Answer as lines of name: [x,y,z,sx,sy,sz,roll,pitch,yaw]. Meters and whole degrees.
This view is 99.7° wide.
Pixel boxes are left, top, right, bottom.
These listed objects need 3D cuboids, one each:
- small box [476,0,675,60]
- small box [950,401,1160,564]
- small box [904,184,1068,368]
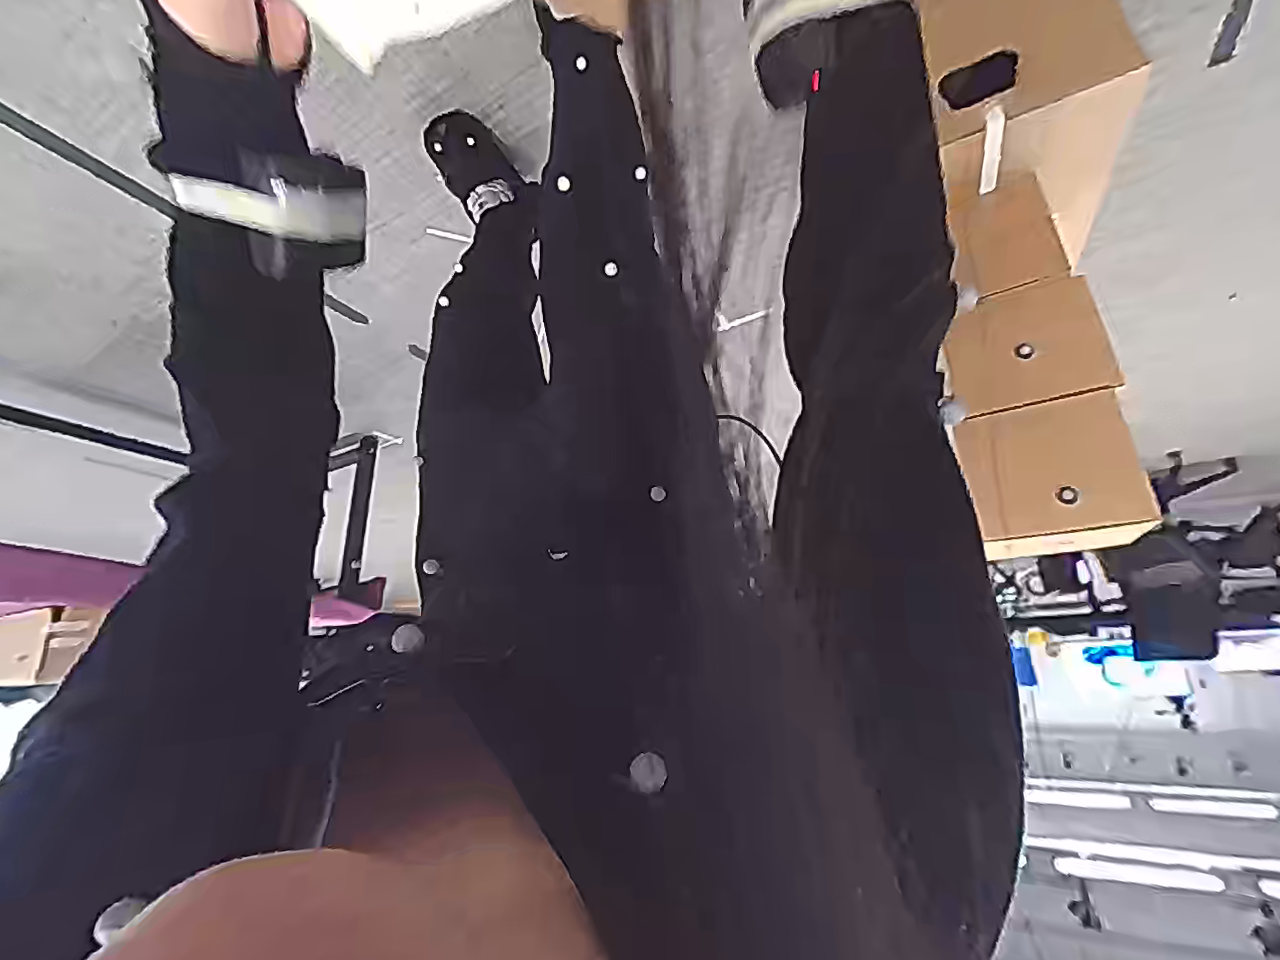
small box: [-0.039,-0.335,0.219,0.179,0.176,0.168,-13,-179,-42]
small box: [0.537,0.010,0.729,0.179,0.176,0.168,-12,158,27]
small box: [0.518,-0.303,0.829,0.179,0.176,0.168,-14,158,29]
